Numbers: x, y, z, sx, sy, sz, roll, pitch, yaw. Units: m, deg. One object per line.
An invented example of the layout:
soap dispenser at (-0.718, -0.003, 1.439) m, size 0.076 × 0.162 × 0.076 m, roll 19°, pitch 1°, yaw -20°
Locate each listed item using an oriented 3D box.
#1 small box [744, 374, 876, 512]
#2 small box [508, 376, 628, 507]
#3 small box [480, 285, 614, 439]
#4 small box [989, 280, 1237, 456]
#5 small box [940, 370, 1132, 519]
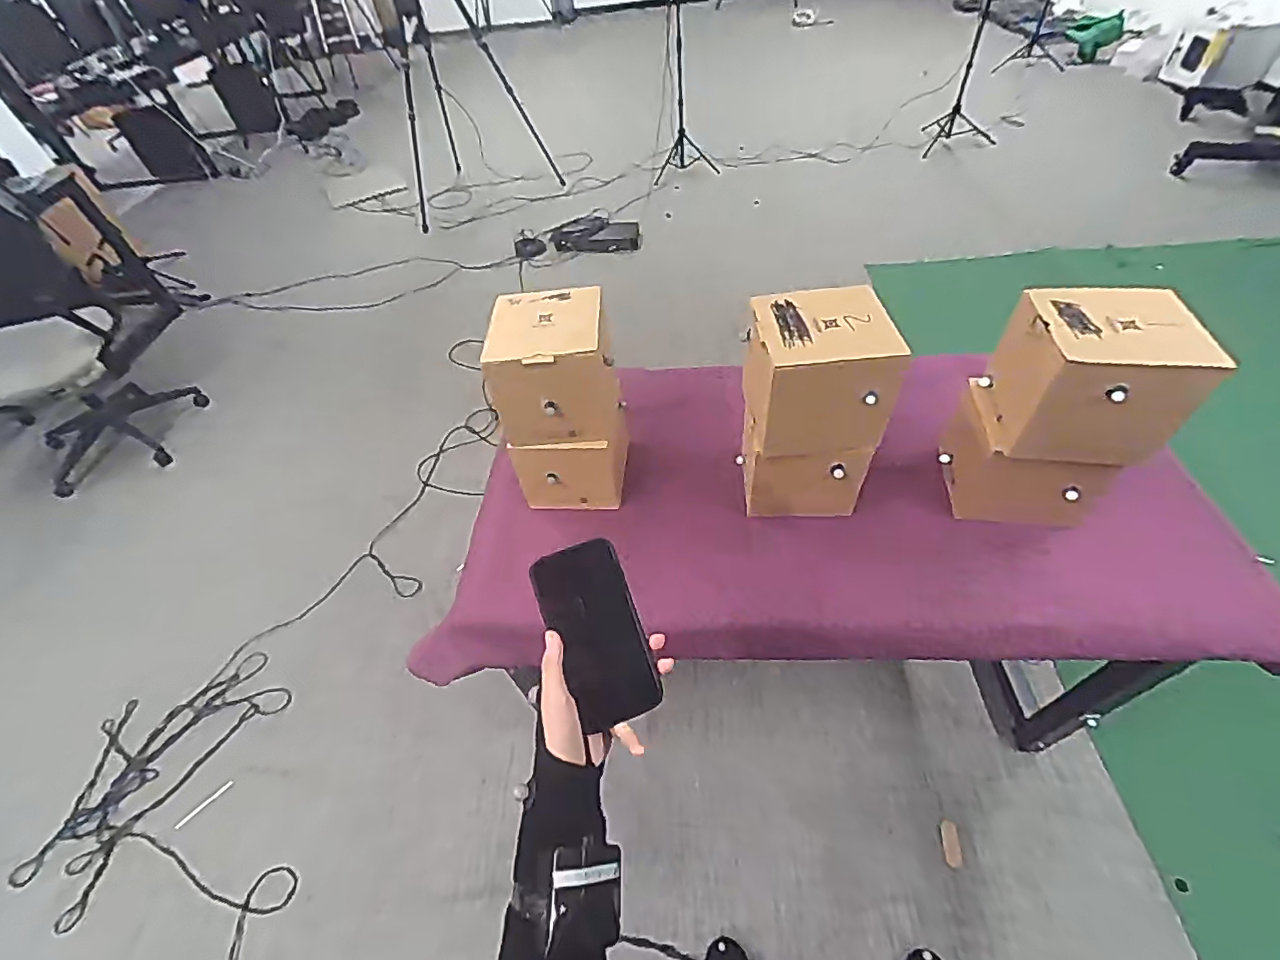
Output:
small box at (0.271, -0.058, 0.905) m, size 0.179 × 0.176 × 0.168 m, roll -1°, pitch 49°, yaw 7°
small box at (-0.116, -0.064, 0.965) m, size 0.168 × 0.176 × 0.179 m, roll -1°, pitch 49°, yaw 7°
small box at (-0.133, -0.177, 0.847) m, size 0.168 × 0.176 × 0.179 m, roll -4°, pitch 50°, yaw 3°
small box at (0.598, -0.148, 0.723) m, size 0.179 × 0.176 × 0.168 m, roll 4°, pitch 50°, yaw 10°
small box at (0.607, -0.053, 0.857) m, size 0.179 × 0.176 × 0.168 m, roll 4°, pitch 50°, yaw 11°
